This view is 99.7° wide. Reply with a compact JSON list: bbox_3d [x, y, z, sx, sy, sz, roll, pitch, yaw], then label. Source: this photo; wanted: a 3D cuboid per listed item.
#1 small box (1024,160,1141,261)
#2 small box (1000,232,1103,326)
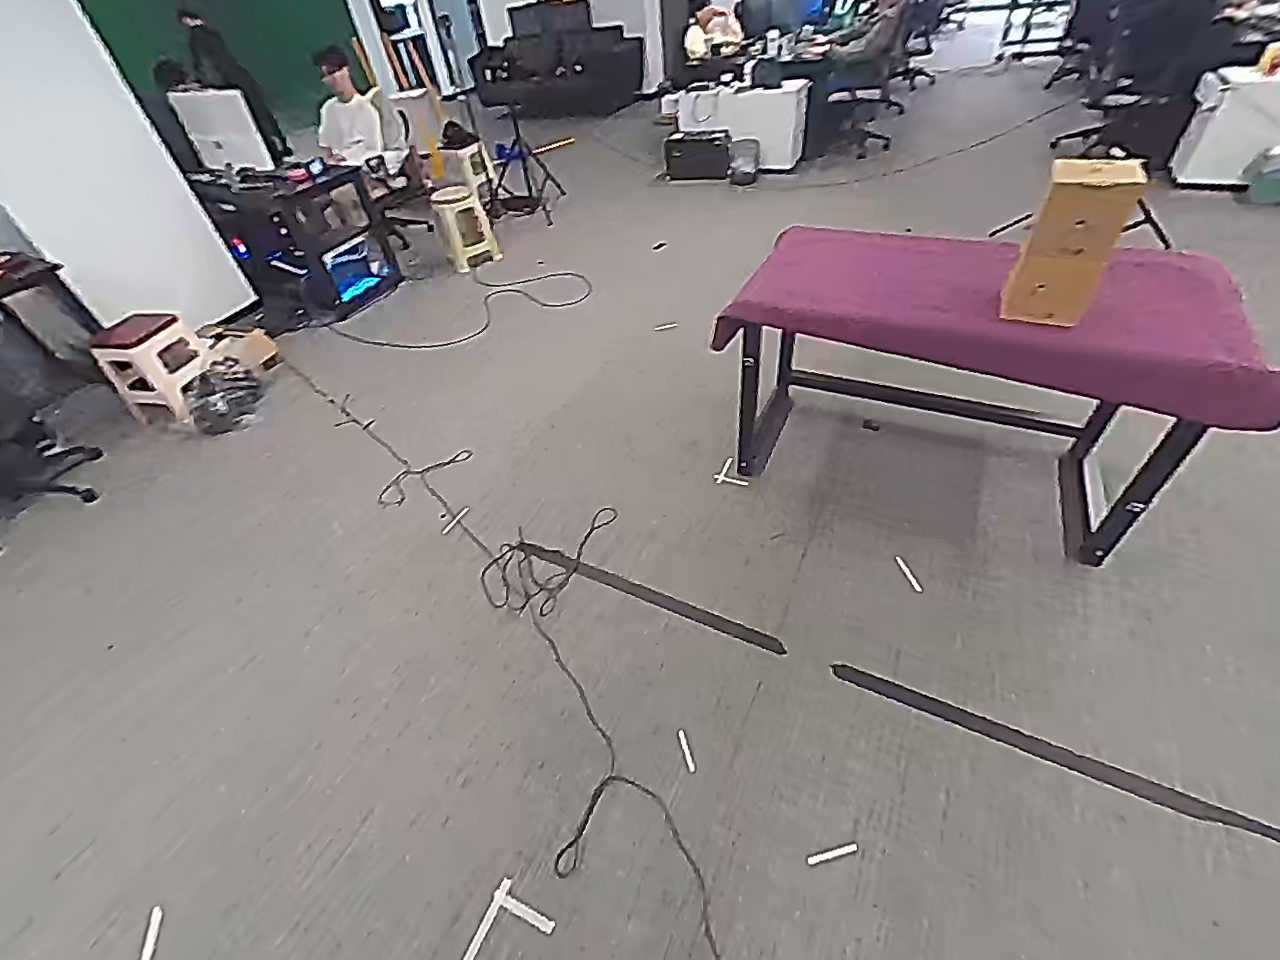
[{"bbox_3d":[1.032,-0.635,1.274,0.168,0.176,0.179,17,49,24],"label":"small box"},{"bbox_3d":[1.045,-0.515,1.385,0.168,0.176,0.179,16,48,23],"label":"small box"}]
